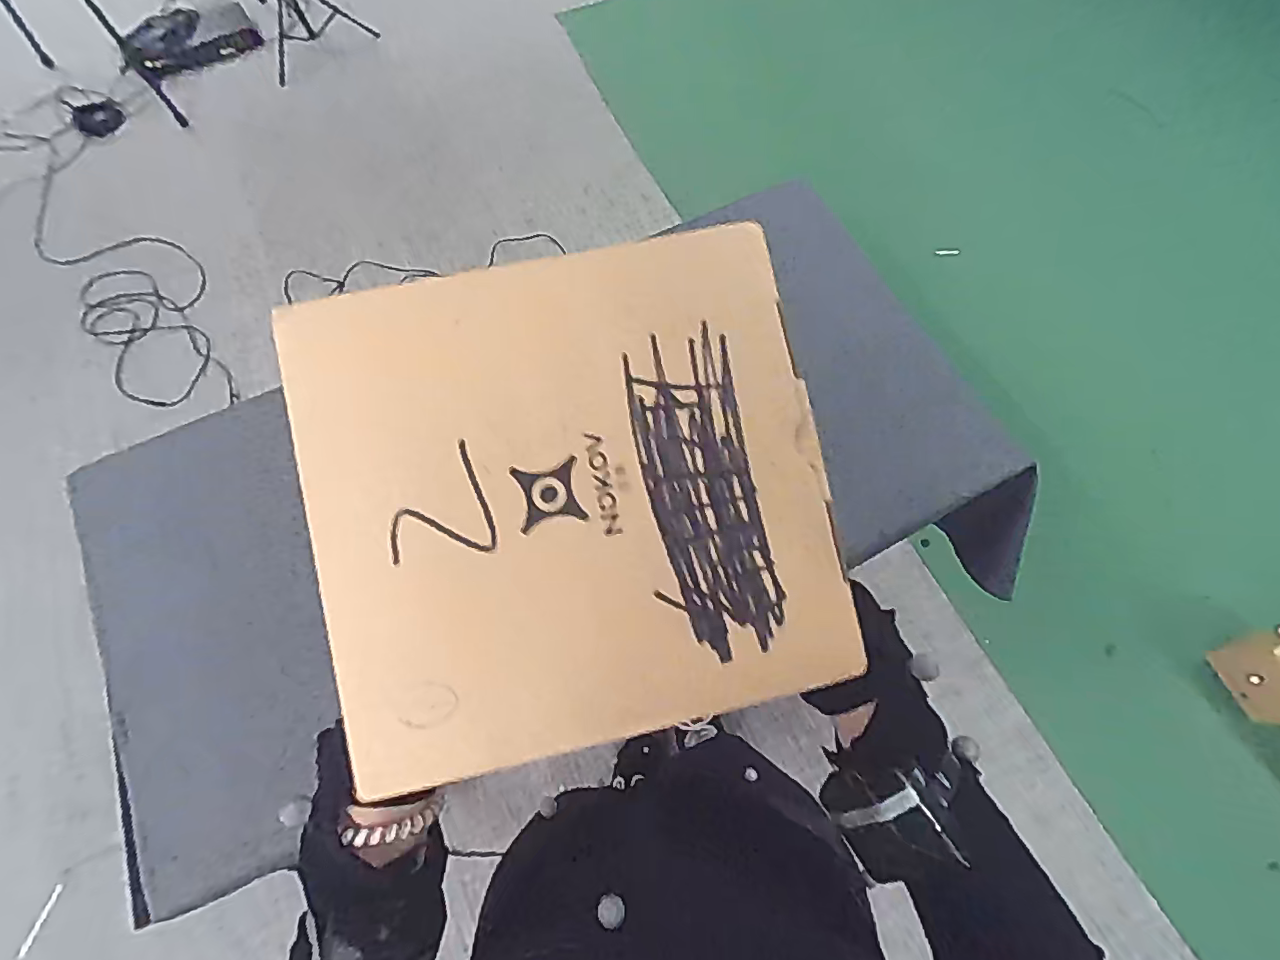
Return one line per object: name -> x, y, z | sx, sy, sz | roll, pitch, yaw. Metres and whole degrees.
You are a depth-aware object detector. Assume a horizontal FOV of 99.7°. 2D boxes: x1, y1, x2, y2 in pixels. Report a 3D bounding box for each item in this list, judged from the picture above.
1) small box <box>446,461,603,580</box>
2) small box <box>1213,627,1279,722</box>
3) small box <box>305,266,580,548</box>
small box -> -0.156, 0.002, 0.666 | 0.168, 0.176, 0.179 | -24, 71, -7
small box -> 1.473, 0.437, 1.220 | 0.179, 0.176, 0.168 | -20, 69, -6
small box -> -0.167, -0.058, 0.514 | 0.179, 0.176, 0.168 | -27, 69, -8
